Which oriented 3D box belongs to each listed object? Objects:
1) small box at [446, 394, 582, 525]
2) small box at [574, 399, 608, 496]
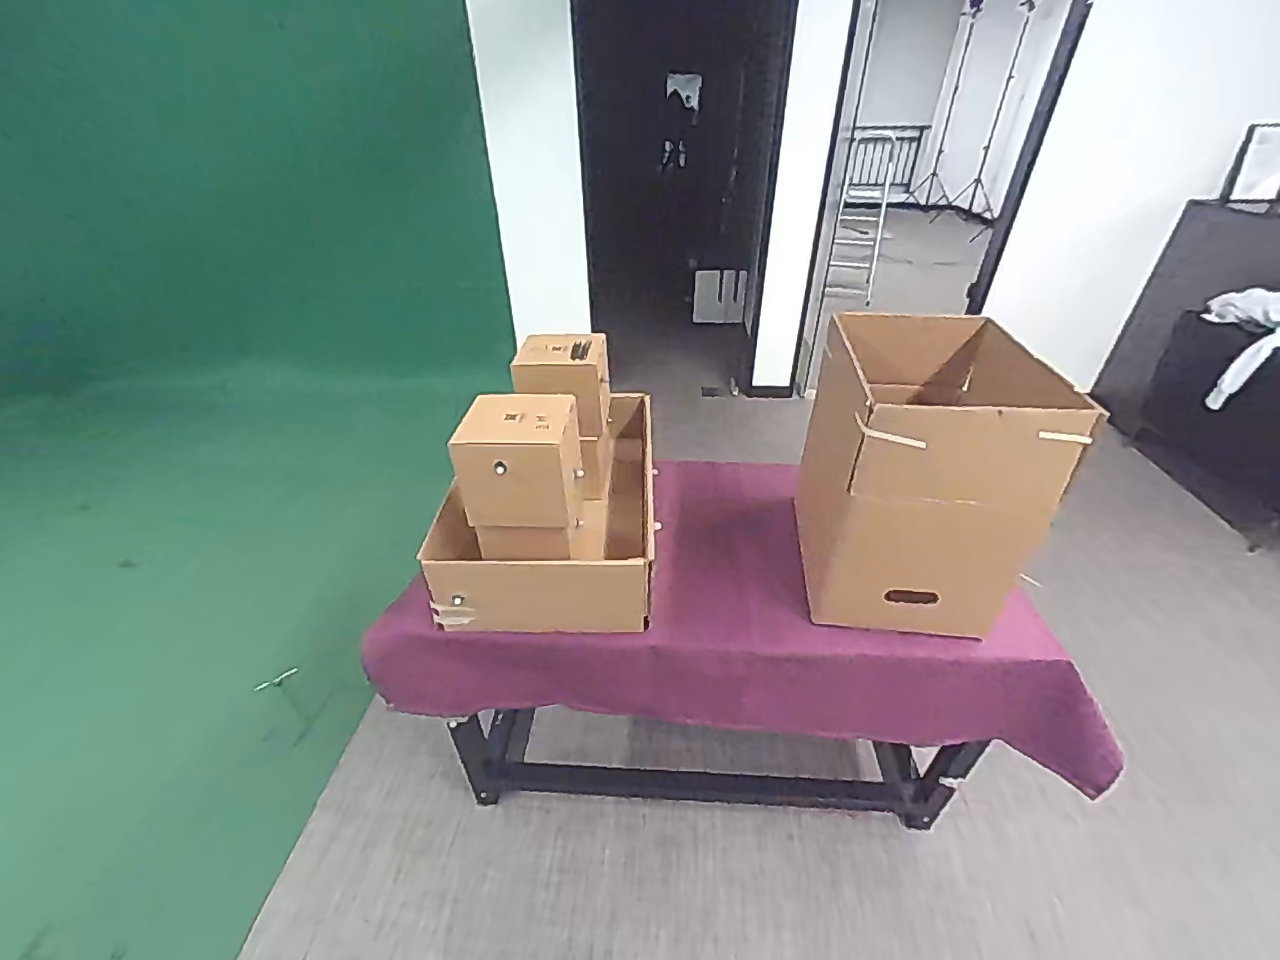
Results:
[{"bbox_3d":[-0.204,-0.036,0.932,0.179,0.176,0.168,1,37,3],"label":"small box"},{"bbox_3d":[-0.167,-0.074,1.268,0.168,0.176,0.179,1,36,4],"label":"small box"}]
